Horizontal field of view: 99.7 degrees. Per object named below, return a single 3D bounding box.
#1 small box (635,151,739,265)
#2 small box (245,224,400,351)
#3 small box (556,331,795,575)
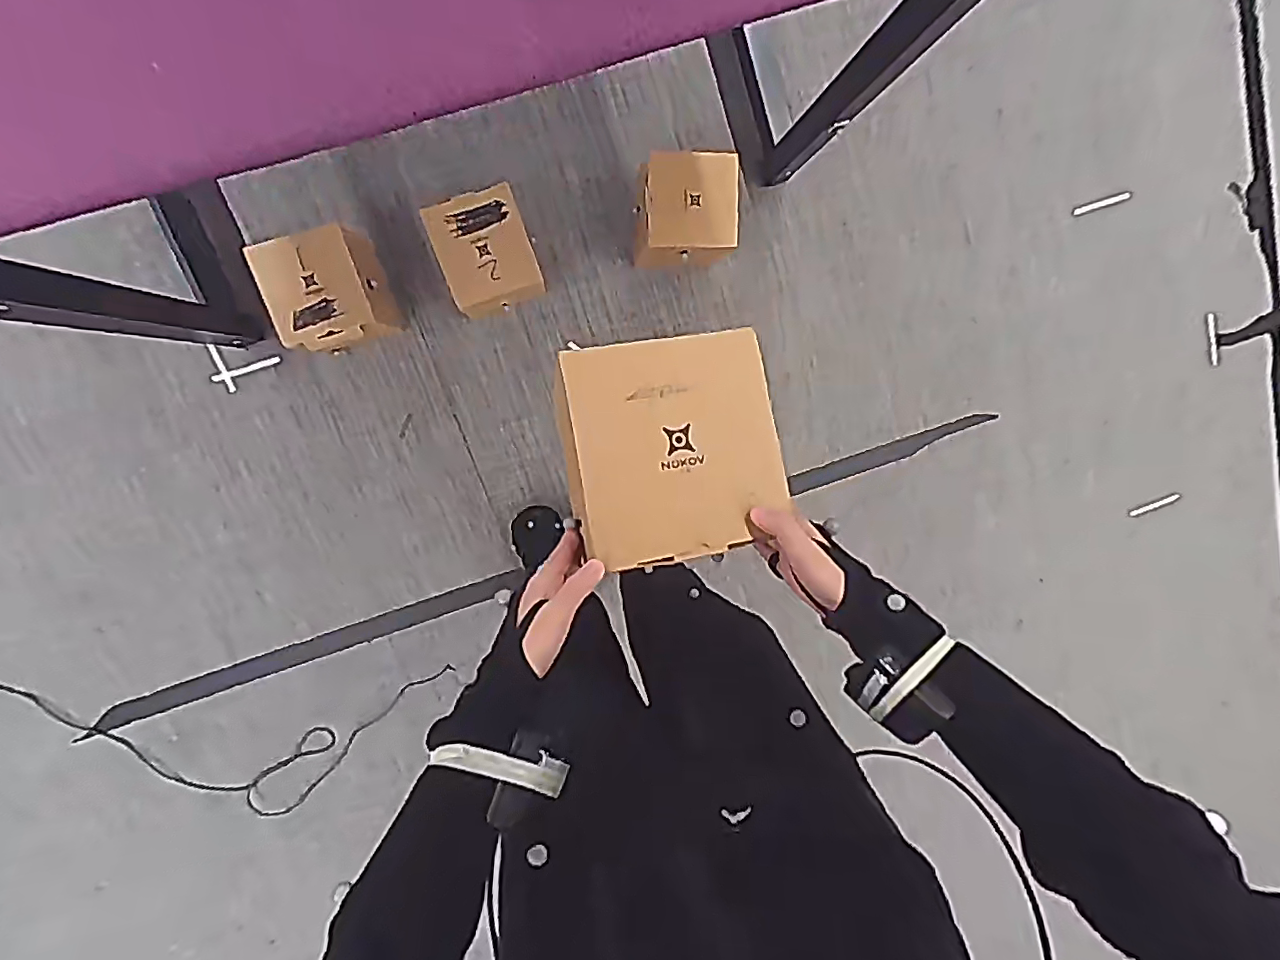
[{"bbox_3d":[0.087,-0.532,1.079,0.179,0.176,0.168,-2,101,-7],"label":"small box"},{"bbox_3d":[-0.576,-0.347,1.010,0.168,0.176,0.179,-18,101,-5],"label":"small box"},{"bbox_3d":[0.018,-0.018,0.503,0.168,0.176,0.179,-10,85,-12],"label":"small box"}]
